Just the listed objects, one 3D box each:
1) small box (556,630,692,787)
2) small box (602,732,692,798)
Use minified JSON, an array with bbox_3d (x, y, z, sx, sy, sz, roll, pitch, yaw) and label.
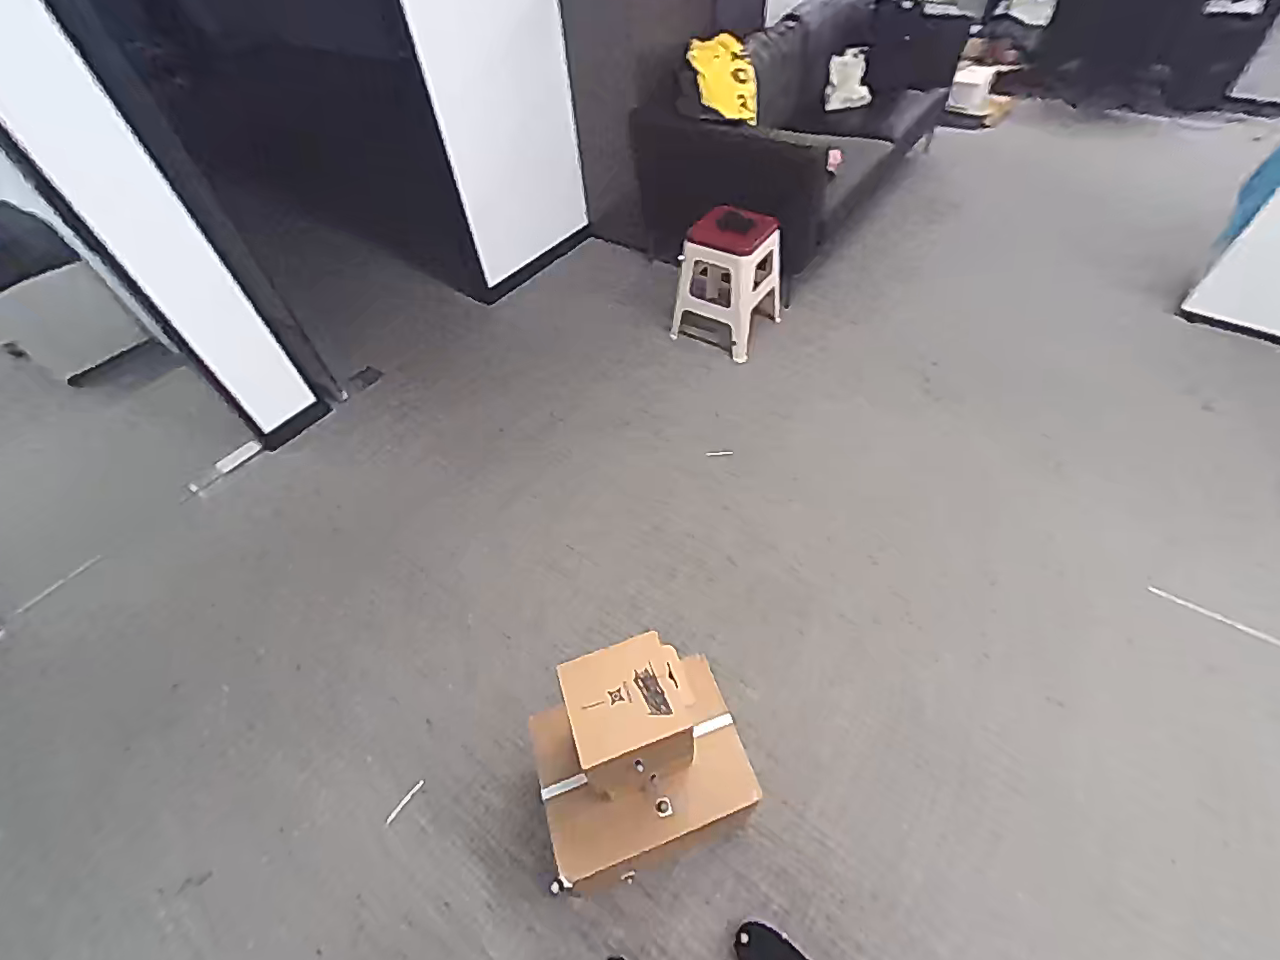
[{"bbox_3d":[-0.026,0.379,0.893,0.179,0.176,0.168,-17,51,-9],"label":"small box"},{"bbox_3d":[-0.016,0.471,1.030,0.179,0.176,0.168,-19,50,-13],"label":"small box"}]
